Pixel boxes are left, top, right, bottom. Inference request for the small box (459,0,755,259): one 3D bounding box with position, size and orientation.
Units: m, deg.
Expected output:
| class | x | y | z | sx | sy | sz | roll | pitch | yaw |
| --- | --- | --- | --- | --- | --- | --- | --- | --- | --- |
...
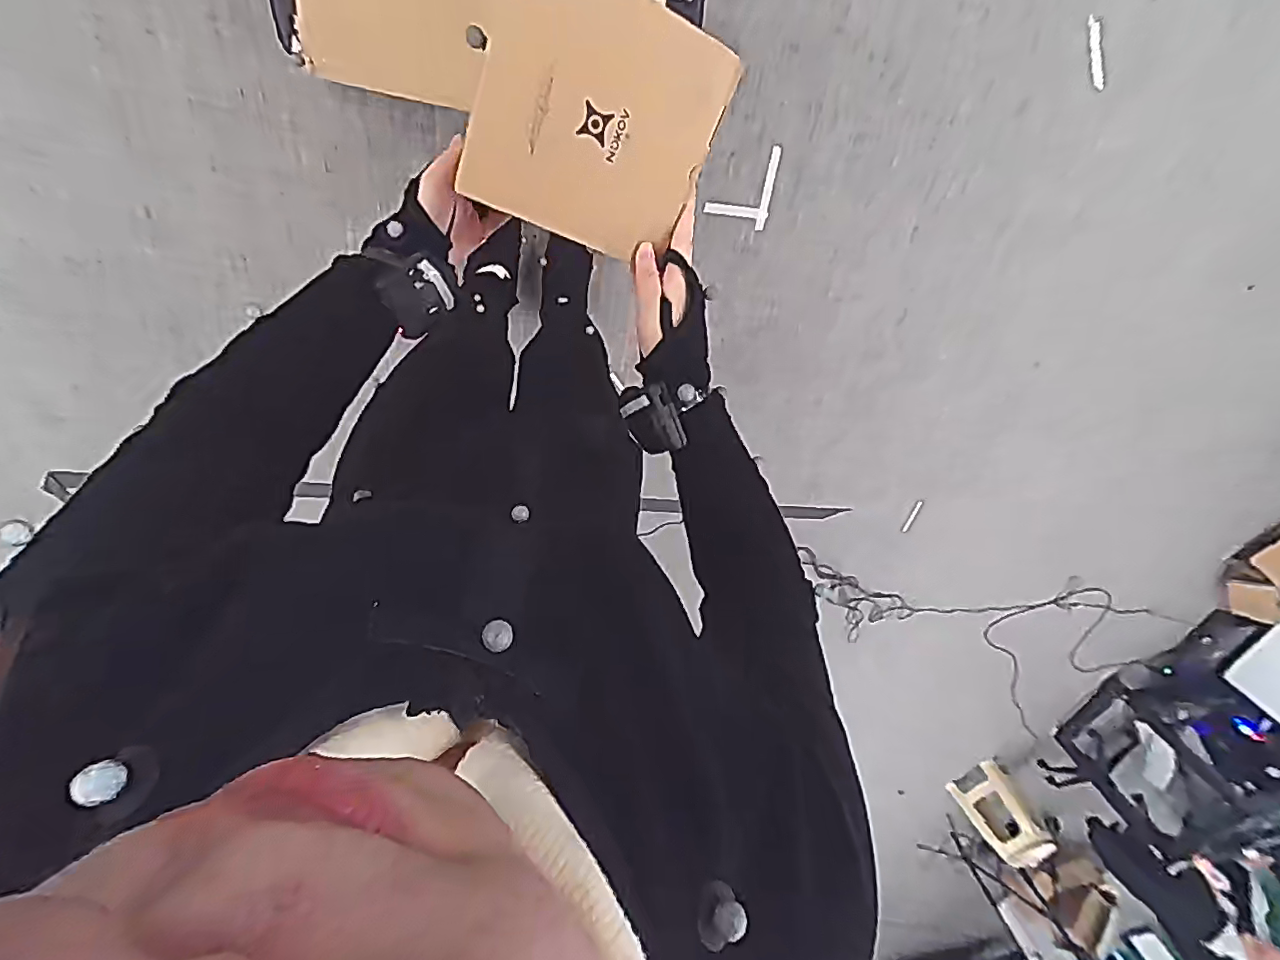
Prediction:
| class | x | y | z | sx | sy | sz | roll | pitch | yaw |
| --- | --- | --- | --- | --- | --- | --- | --- | --- | --- |
| small box | -0.042 | -0.317 | 0.455 | 0.179 | 0.176 | 0.168 | 14 | 120 | -24 |
